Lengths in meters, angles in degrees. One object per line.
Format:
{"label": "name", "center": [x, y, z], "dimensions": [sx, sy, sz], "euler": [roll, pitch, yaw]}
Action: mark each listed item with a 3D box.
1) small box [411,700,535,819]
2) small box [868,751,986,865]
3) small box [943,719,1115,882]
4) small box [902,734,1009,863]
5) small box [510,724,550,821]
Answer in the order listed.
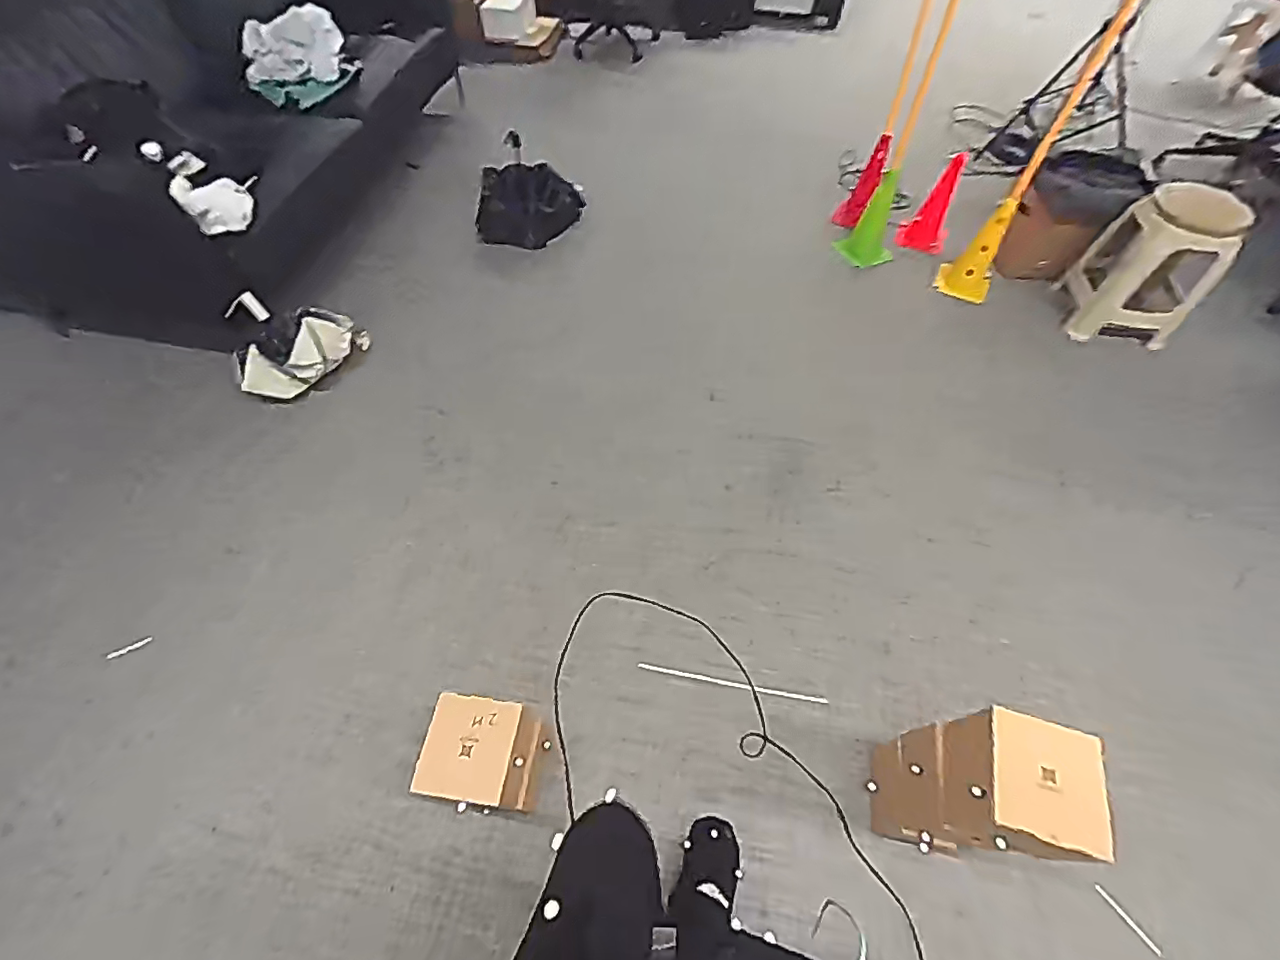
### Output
{"label": "small box", "center": [-0.314, 0.553, 1.064], "dimensions": [0.168, 0.176, 0.179], "euler": [7, 57, 5]}
{"label": "small box", "center": [0.609, 0.704, 1.168], "dimensions": [0.168, 0.176, 0.179], "euler": [10, 59, 3]}
{"label": "small box", "center": [0.625, 0.524, 0.892], "dimensions": [0.168, 0.176, 0.179], "euler": [16, 59, 10]}
{"label": "small box", "center": [0.616, 0.610, 1.030], "dimensions": [0.168, 0.176, 0.179], "euler": [12, 57, 7]}
{"label": "small box", "center": [-0.303, 0.642, 1.202], "dimensions": [0.168, 0.176, 0.179], "euler": [7, 57, 5]}
